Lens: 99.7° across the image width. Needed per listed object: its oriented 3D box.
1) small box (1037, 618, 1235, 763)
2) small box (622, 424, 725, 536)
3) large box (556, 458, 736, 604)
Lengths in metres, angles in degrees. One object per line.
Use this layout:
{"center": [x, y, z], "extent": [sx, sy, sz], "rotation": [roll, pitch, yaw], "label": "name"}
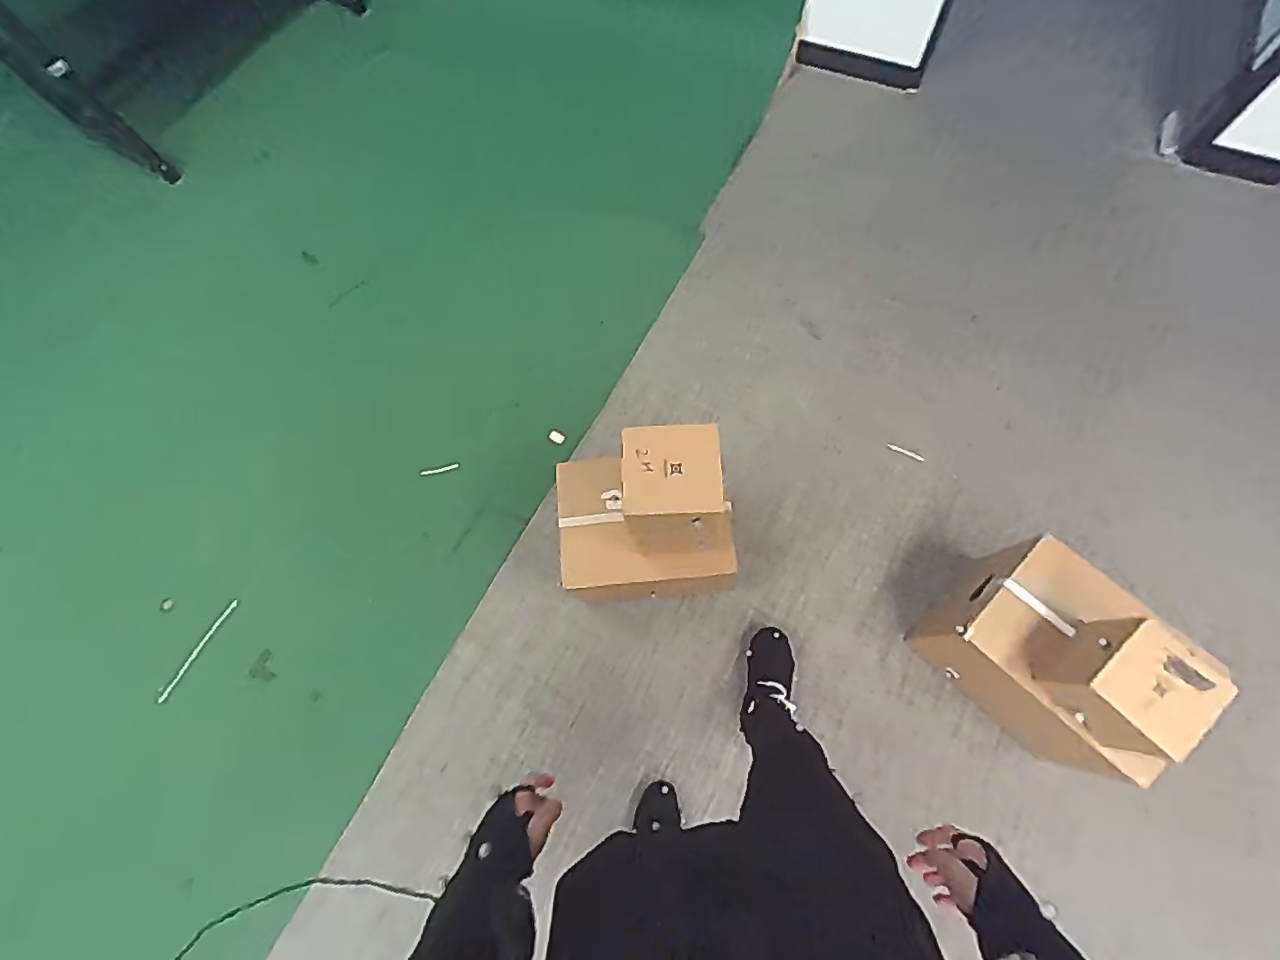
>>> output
{"center": [0.891, 0.376, 0.993], "extent": [0.179, 0.176, 0.168], "rotation": [-41, 73, -8], "label": "small box"}
{"center": [0.061, 0.005, 1.011], "extent": [0.179, 0.176, 0.168], "rotation": [-2, 70, 4], "label": "small box"}
{"center": [0.020, 0.134, 1.406], "extent": [0.408, 0.320, 0.320], "rotation": [-7, 69, 3], "label": "large box"}
